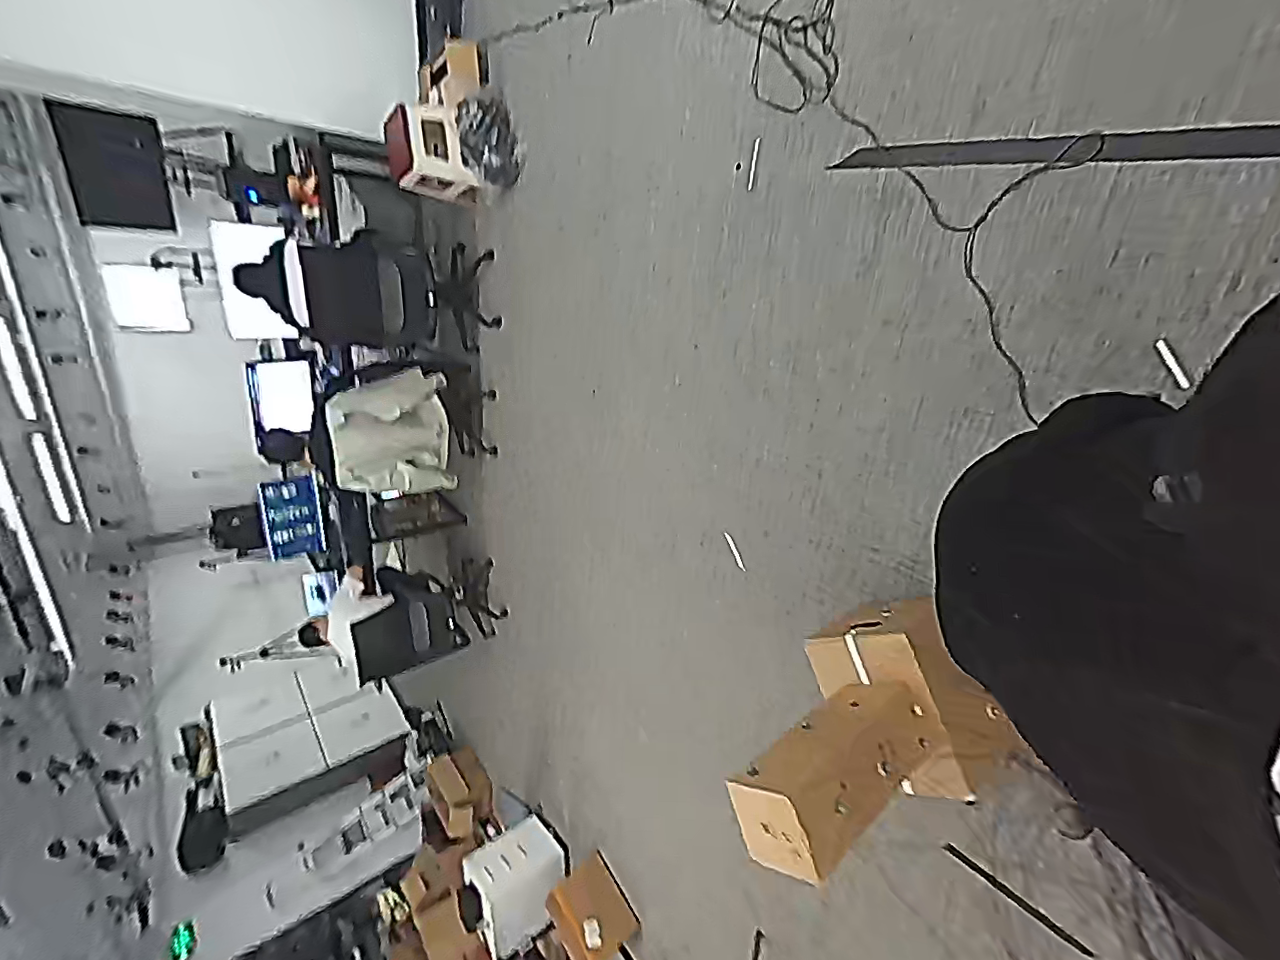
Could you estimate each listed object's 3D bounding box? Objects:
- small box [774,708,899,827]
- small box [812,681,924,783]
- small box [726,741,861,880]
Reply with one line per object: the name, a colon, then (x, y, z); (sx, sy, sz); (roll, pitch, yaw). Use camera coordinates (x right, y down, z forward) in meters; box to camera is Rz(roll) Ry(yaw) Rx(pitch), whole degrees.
small box: (0.437, 0.625, 1.205); (0.179, 0.176, 0.168); (-23, 83, 50)
small box: (0.559, 0.600, 1.310); (0.179, 0.176, 0.168); (-28, 78, 51)
small box: (0.312, 0.656, 1.101); (0.179, 0.176, 0.168); (-25, 82, 51)
